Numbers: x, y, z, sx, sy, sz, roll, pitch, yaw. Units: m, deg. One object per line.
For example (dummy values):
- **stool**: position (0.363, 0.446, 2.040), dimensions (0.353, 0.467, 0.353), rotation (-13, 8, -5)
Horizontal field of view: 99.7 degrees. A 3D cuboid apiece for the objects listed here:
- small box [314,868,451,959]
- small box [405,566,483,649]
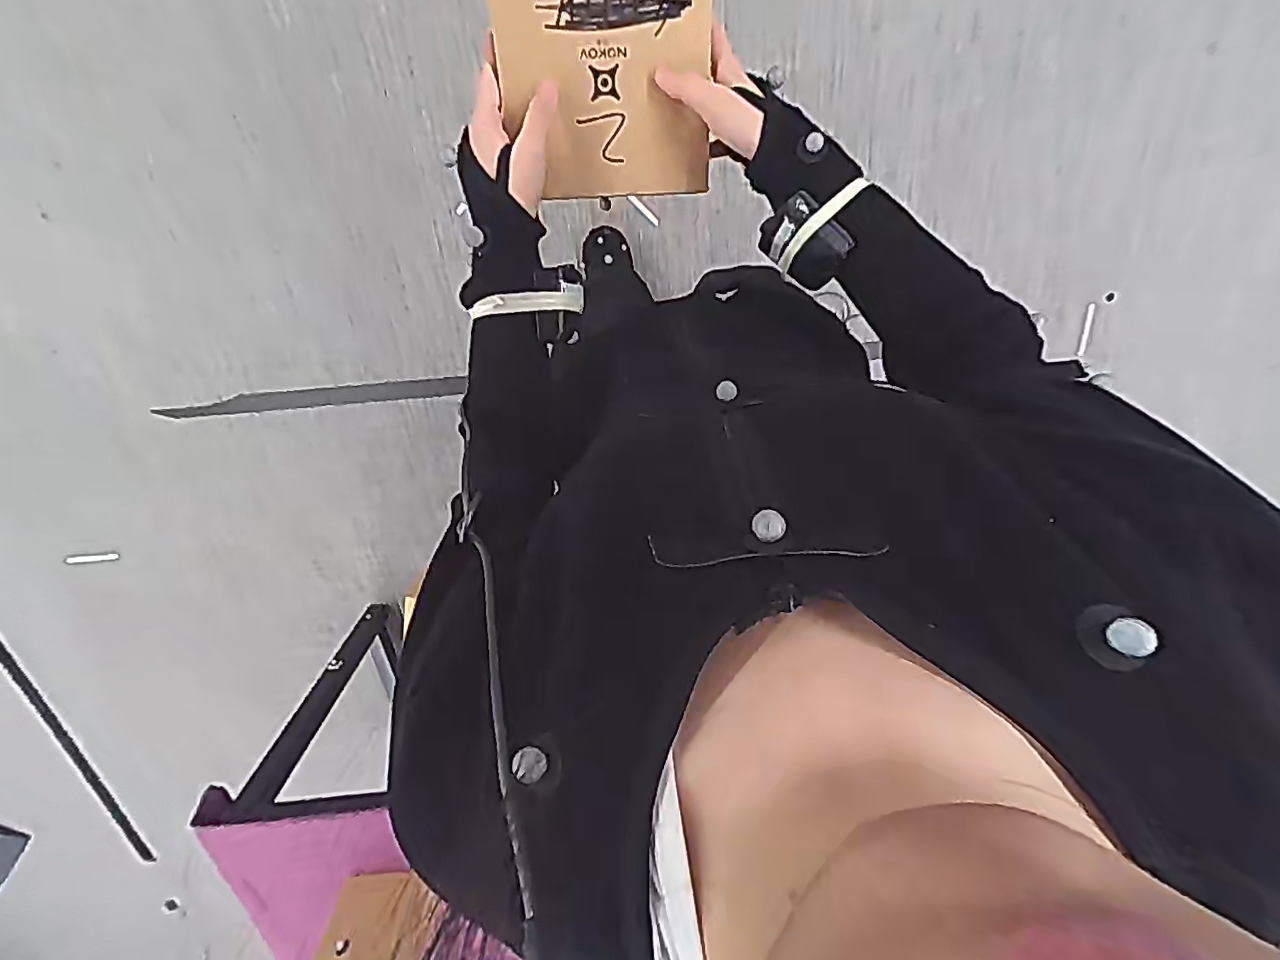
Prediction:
- **small box**: position (-0.486, 0.886, 1.041), dimensions (0.179, 0.176, 0.168), rotation (-4, 114, -1)
- **small box**: position (-0.581, 0.375, 1.614), dimensions (0.179, 0.176, 0.168), rotation (10, 112, -7)
